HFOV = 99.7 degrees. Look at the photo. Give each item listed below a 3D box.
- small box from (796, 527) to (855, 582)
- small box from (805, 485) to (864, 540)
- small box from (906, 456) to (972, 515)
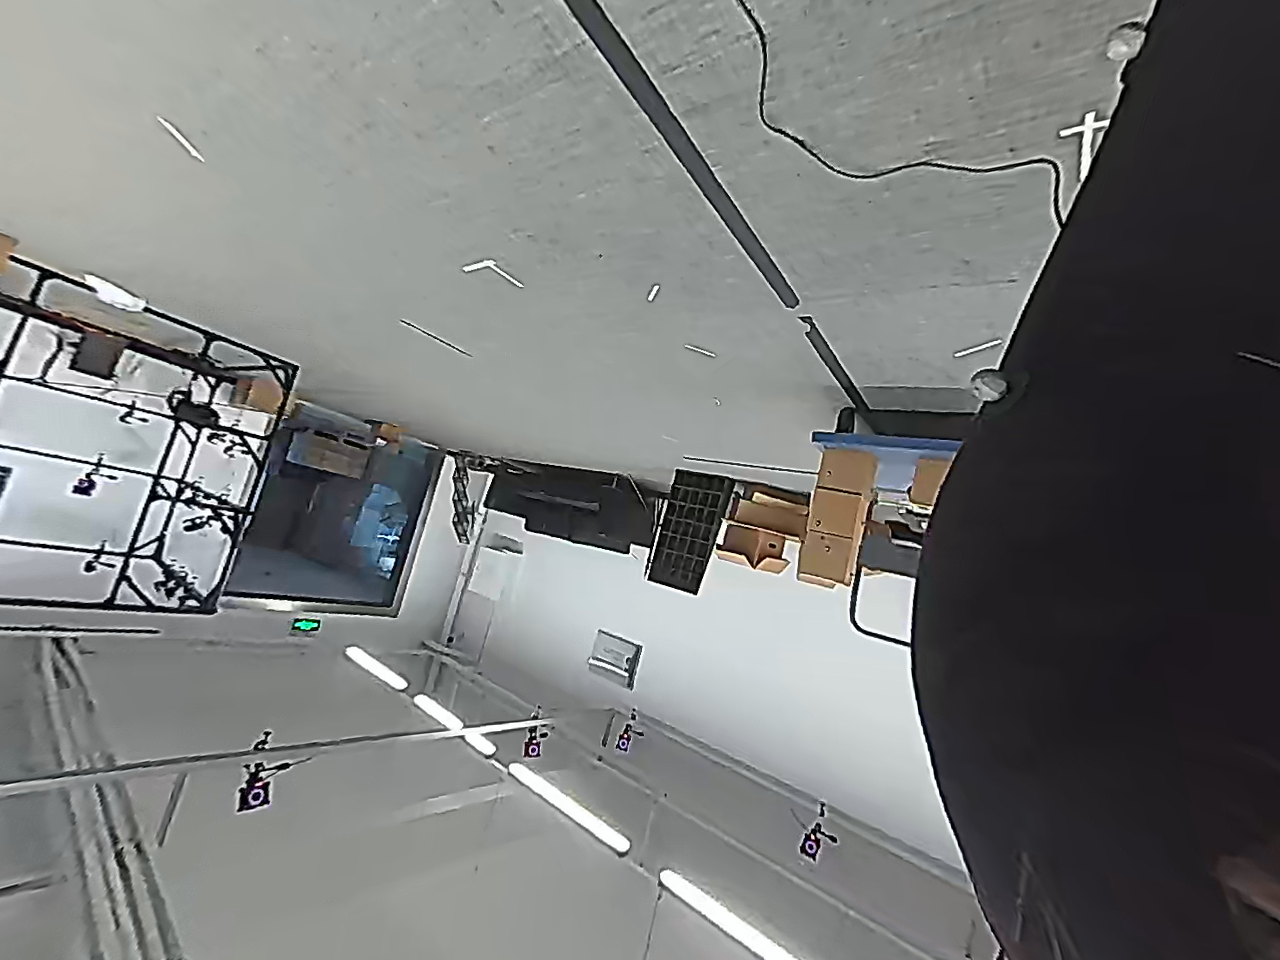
[{"bbox_3d":[0.715,0.284,2.067,0.168,0.176,0.179,11,173,31],"label":"small box"},{"bbox_3d":[0.754,0.124,2.082,0.179,0.176,0.168,12,173,33],"label":"small box"},{"bbox_3d":[1.063,0.016,1.919,0.179,0.176,0.168,9,172,33],"label":"small box"}]
